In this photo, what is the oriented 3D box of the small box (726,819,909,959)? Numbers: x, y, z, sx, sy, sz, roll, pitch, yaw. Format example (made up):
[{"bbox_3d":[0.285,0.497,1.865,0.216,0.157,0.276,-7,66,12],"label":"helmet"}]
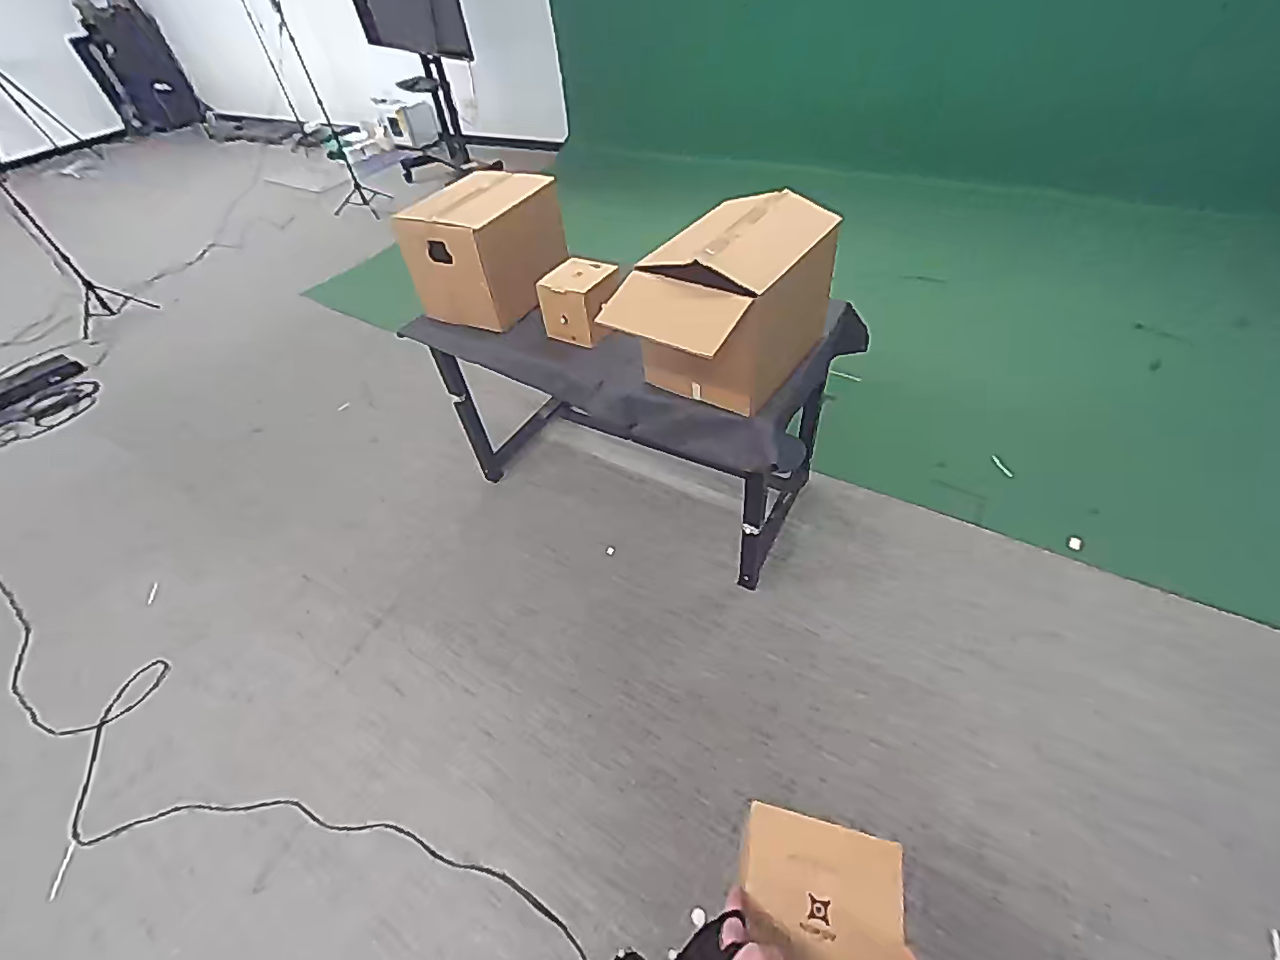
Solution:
[{"bbox_3d":[0.189,0.516,0.603,0.168,0.176,0.179,9,49,13],"label":"small box"}]
